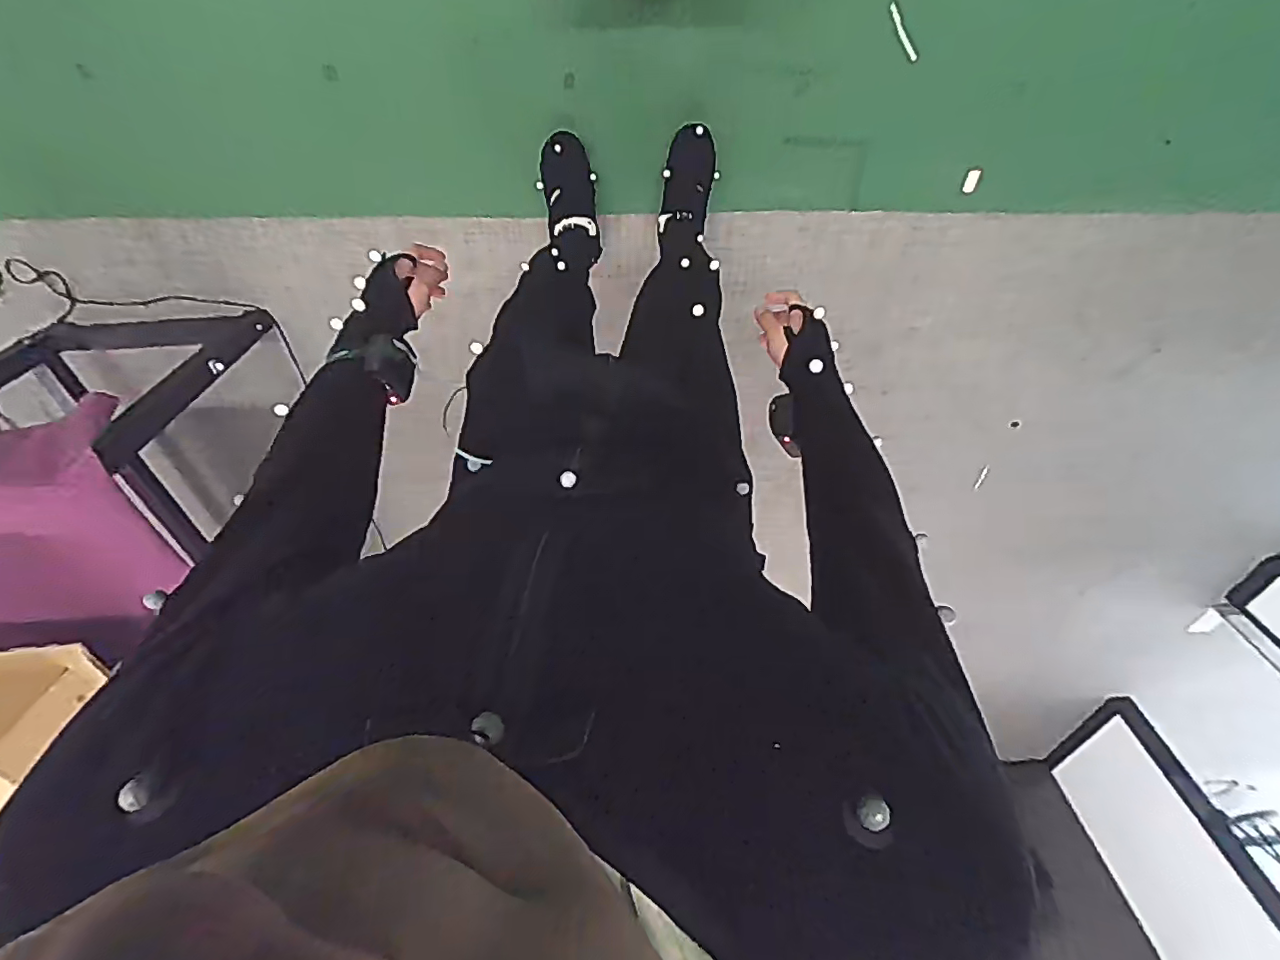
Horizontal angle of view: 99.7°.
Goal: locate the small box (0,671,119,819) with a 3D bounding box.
[{"bbox_3d":[-1.064,0.445,0.912,0.179,0.176,0.168,-5,128,-1],"label":"small box"}]
